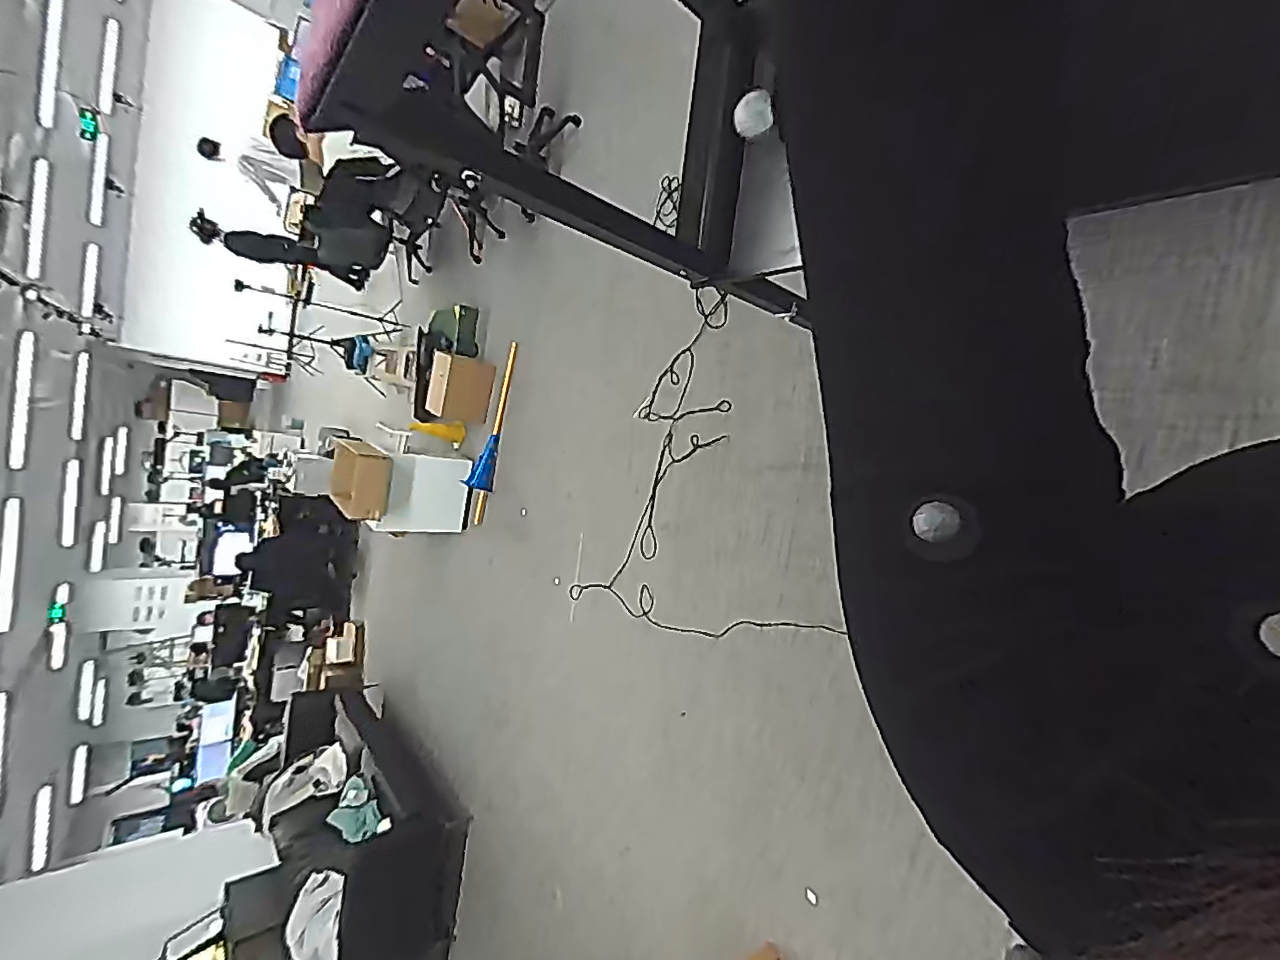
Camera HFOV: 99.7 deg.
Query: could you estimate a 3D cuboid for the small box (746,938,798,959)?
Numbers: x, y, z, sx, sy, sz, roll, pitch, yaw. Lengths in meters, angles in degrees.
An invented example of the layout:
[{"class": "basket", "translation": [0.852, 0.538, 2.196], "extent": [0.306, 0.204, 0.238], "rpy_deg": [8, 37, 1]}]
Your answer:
[{"class": "small box", "translation": [0.413, 1.580, 1.658], "extent": [0.168, 0.176, 0.179], "rpy_deg": [21, 102, 48]}]
